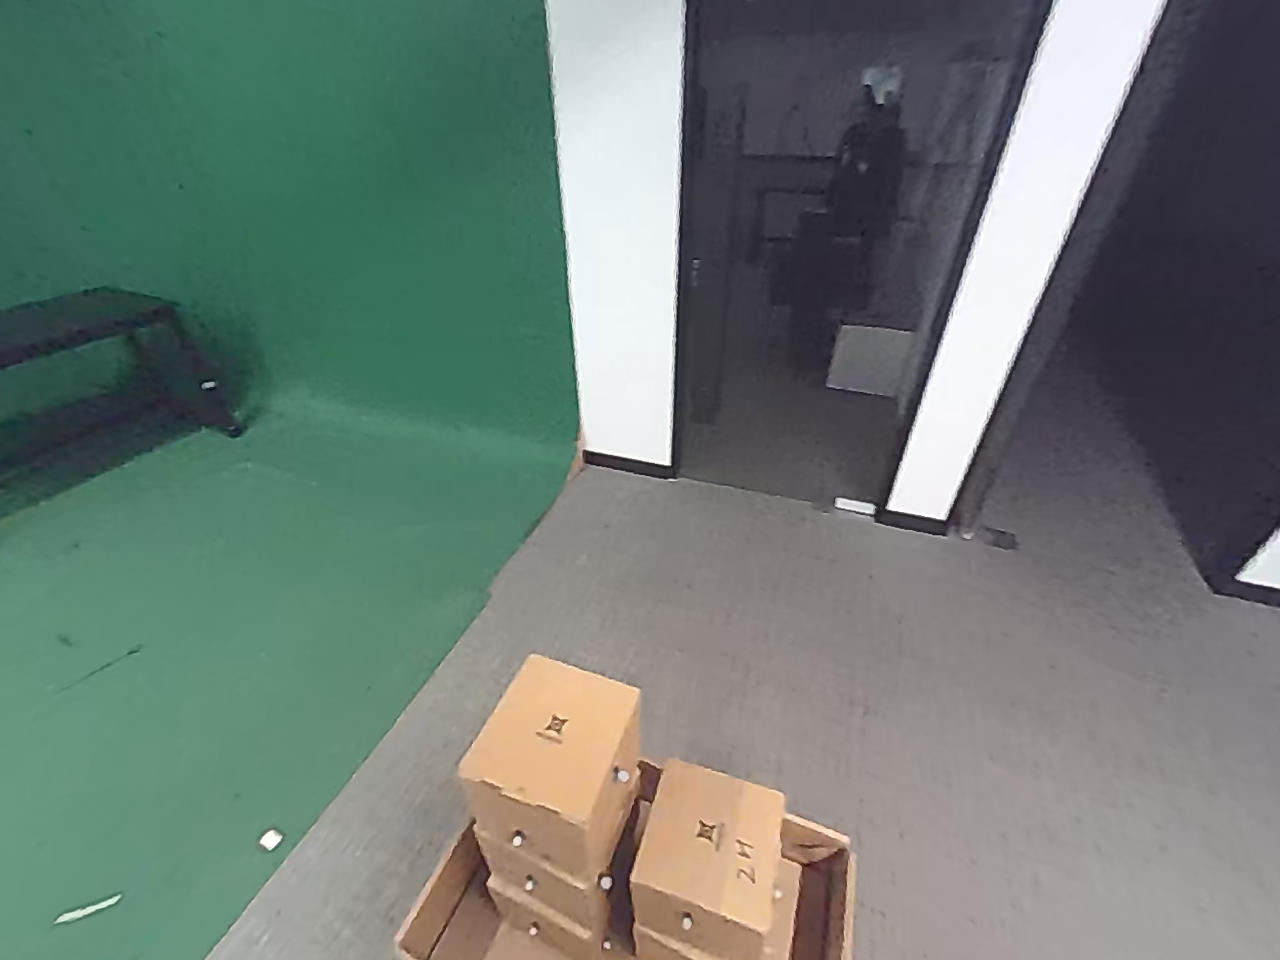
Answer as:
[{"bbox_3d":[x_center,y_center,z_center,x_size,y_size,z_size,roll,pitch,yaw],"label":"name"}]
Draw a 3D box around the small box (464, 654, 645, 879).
[{"bbox_3d":[-0.101,0.371,0.710,0.168,0.176,0.179,12,38,17],"label":"small box"}]
